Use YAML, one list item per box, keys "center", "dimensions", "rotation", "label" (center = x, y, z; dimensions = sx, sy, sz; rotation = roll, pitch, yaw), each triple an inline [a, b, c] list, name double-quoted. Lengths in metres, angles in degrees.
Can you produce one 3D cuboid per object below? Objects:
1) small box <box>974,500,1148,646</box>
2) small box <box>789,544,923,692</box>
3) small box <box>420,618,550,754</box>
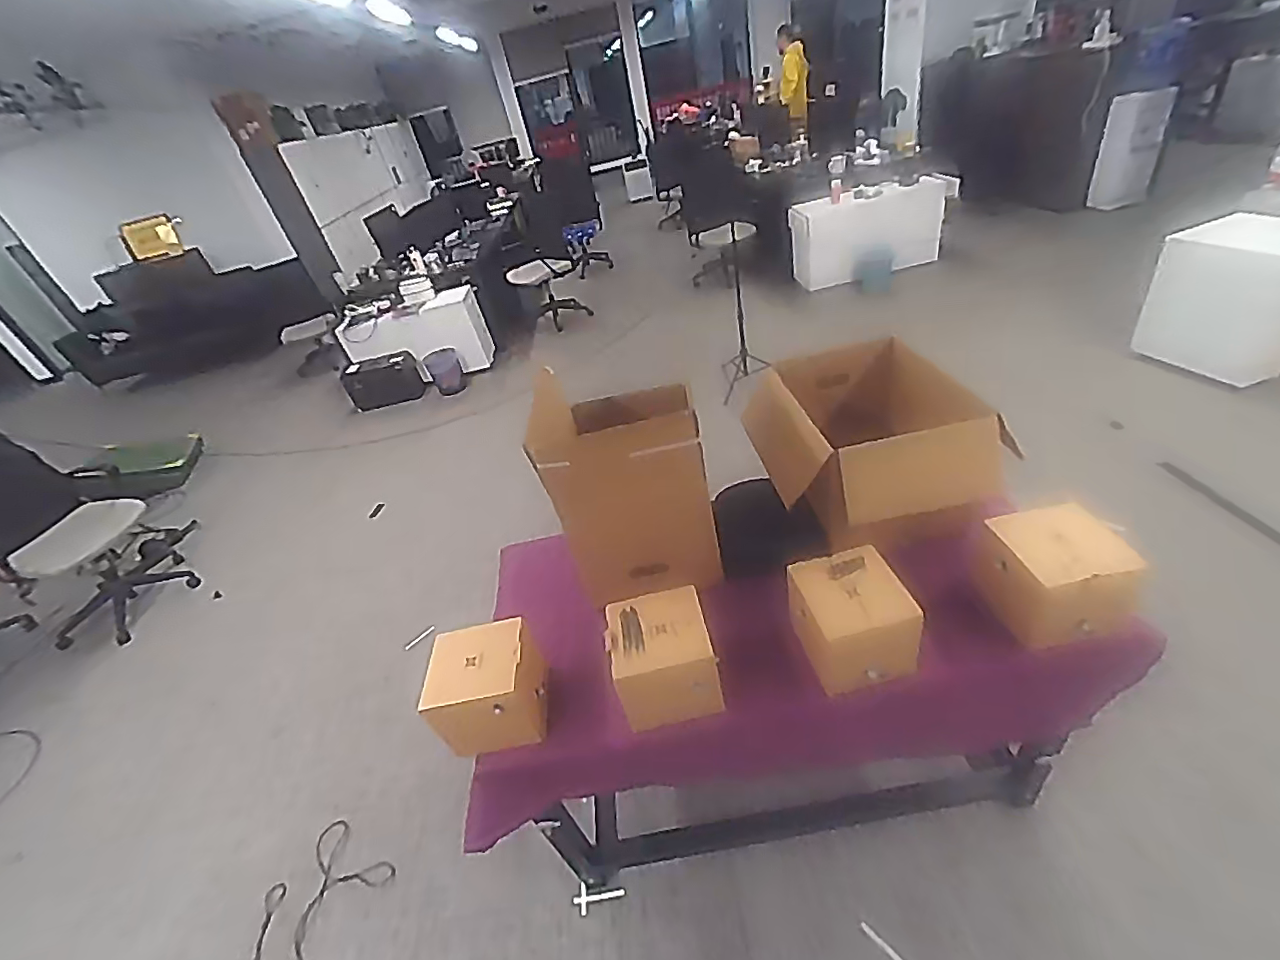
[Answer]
- center: [0.733, 0.166, 0.969]
  dimensions: [0.168, 0.176, 0.179]
  rotation: [-13, 36, 4]
  label: "small box"
- center: [0.383, 0.250, 0.986]
  dimensions: [0.168, 0.176, 0.179]
  rotation: [-16, 37, 0]
  label: "small box"
- center: [-0.284, 0.395, 1.031]
  dimensions: [0.179, 0.176, 0.168]
  rotation: [-12, 36, 2]
  label: "small box"
